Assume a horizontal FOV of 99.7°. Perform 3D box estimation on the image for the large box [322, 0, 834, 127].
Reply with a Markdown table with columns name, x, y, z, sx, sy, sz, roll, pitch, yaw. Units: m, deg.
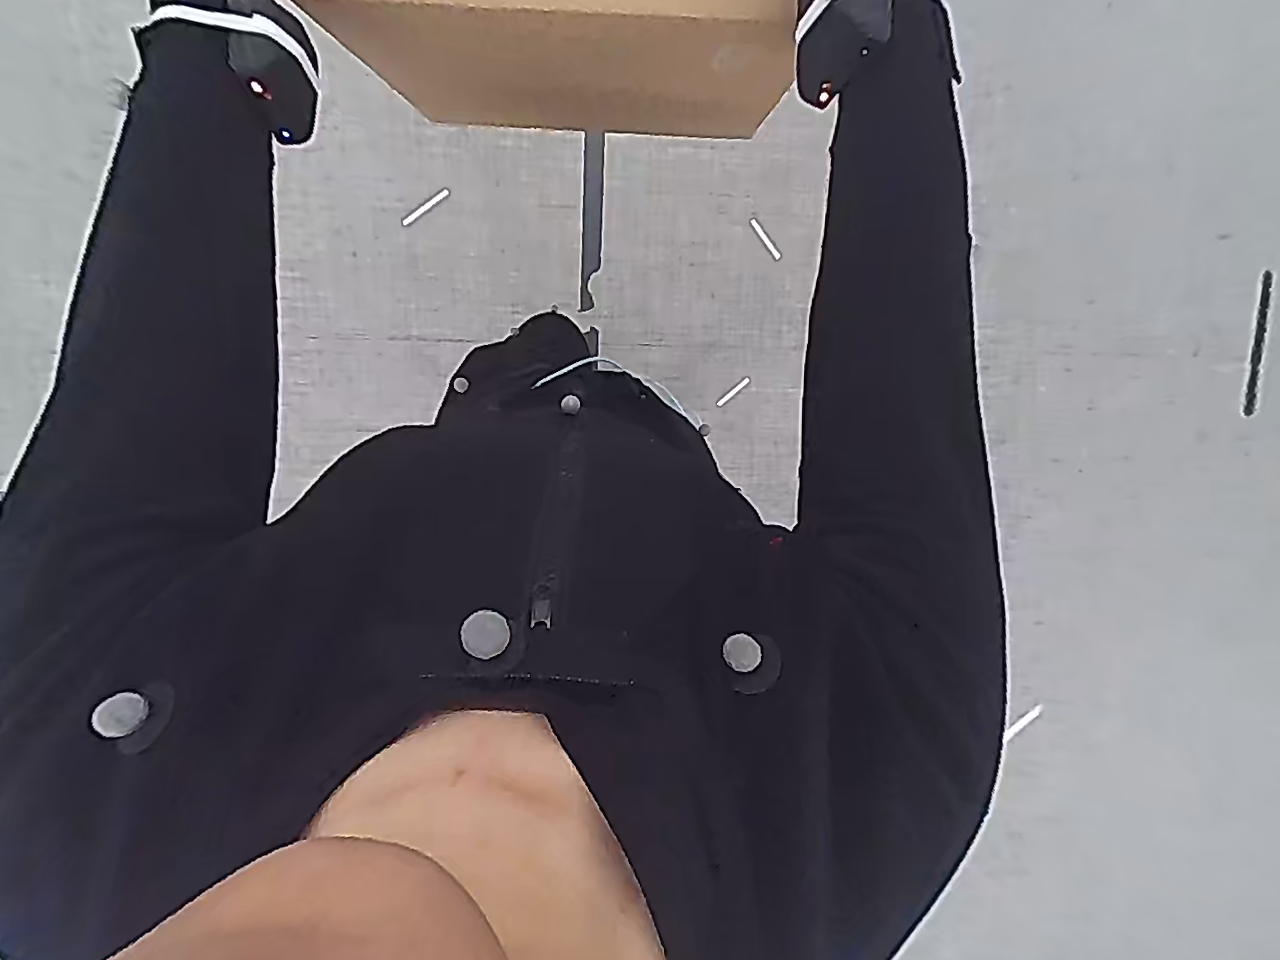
| name | x | y | z | sx | sy | sz | roll | pitch | yaw |
| --- | --- | --- | --- | --- | --- | --- | --- | --- | --- |
| large box | -0.052 | -0.546 | 0.491 | 0.408 | 0.320 | 0.320 | 1 | 109 | -2 |
